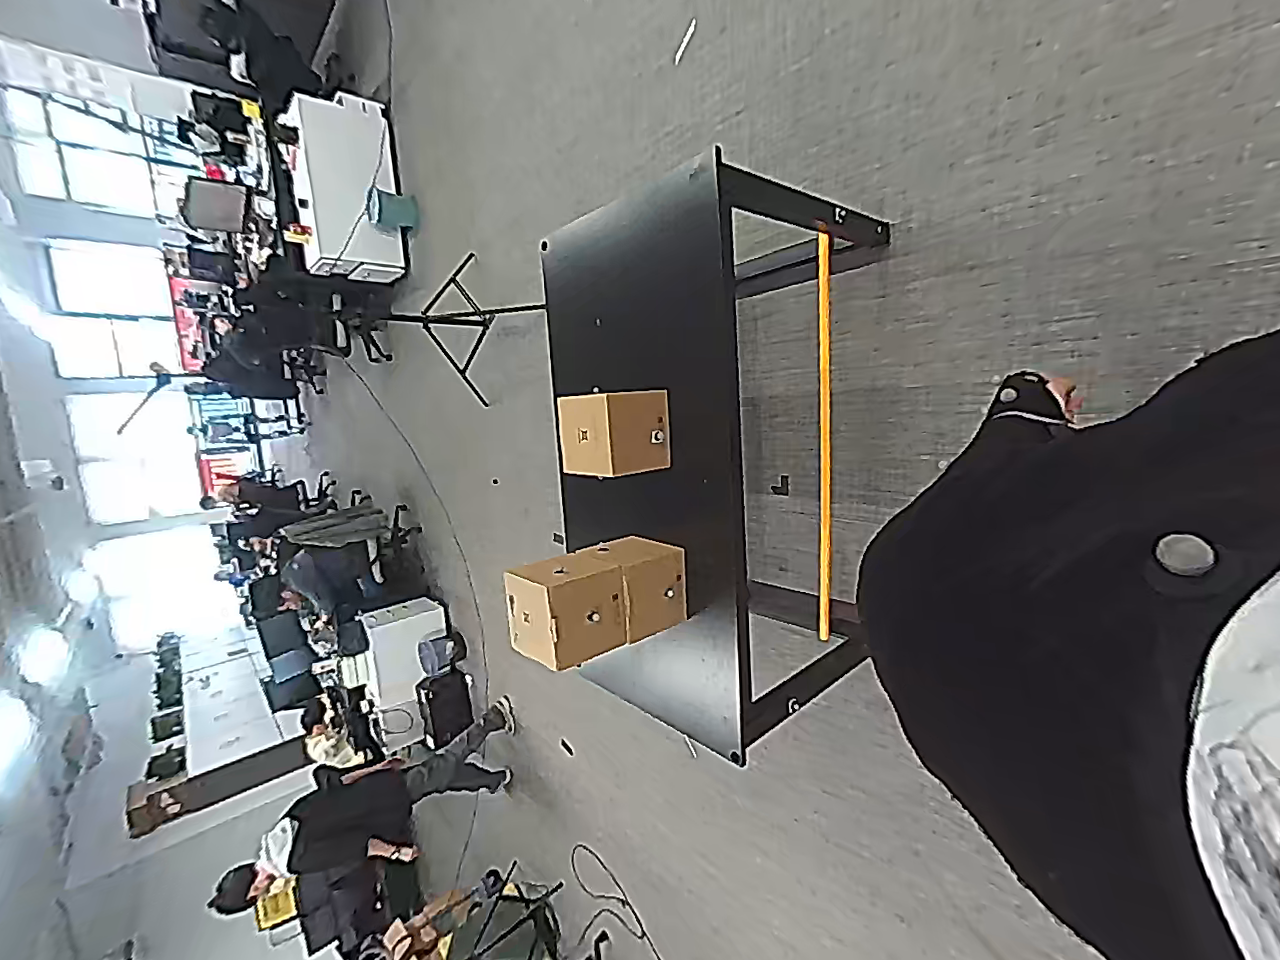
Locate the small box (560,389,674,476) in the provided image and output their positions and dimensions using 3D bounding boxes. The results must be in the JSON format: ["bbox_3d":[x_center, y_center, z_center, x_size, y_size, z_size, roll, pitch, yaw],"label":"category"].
[{"bbox_3d":[-0.049,-0.105,1.158,0.179,0.176,0.168,4,103,48],"label":"small box"}]

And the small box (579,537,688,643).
[{"bbox_3d":[-0.014,0.230,1.186,0.179,0.176,0.168,8,104,49],"label":"small box"}]

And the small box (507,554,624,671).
[{"bbox_3d":[-0.144,0.254,1.088,0.179,0.176,0.168,3,100,49],"label":"small box"}]
